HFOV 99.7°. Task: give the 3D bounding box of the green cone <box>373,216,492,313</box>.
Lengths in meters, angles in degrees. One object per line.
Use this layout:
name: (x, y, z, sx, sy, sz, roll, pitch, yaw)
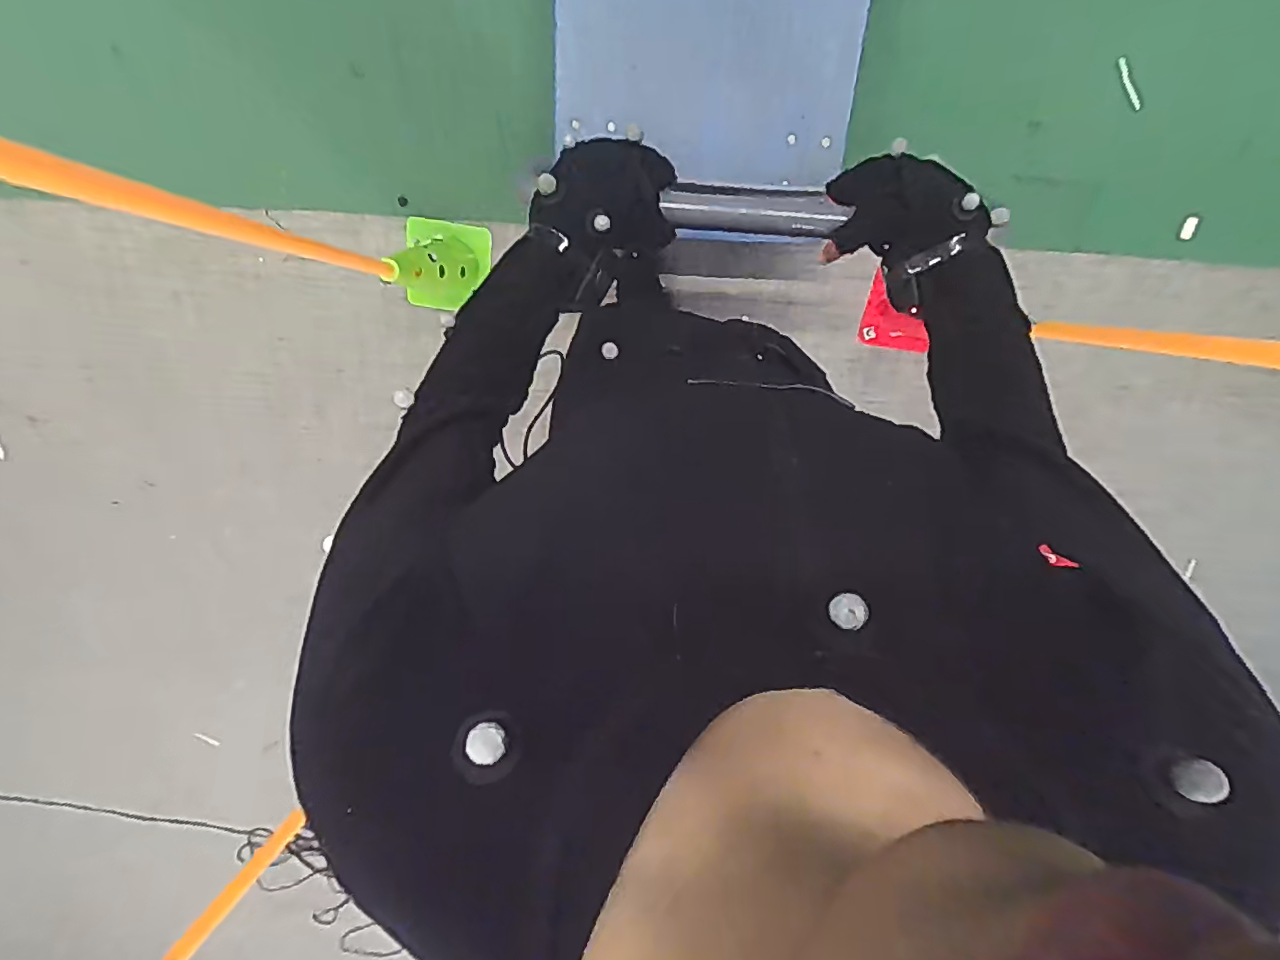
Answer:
green cone: (-0.461, -0.457, 1.150, 0.202, 0.368, 0.200, 7, 111, -3)
